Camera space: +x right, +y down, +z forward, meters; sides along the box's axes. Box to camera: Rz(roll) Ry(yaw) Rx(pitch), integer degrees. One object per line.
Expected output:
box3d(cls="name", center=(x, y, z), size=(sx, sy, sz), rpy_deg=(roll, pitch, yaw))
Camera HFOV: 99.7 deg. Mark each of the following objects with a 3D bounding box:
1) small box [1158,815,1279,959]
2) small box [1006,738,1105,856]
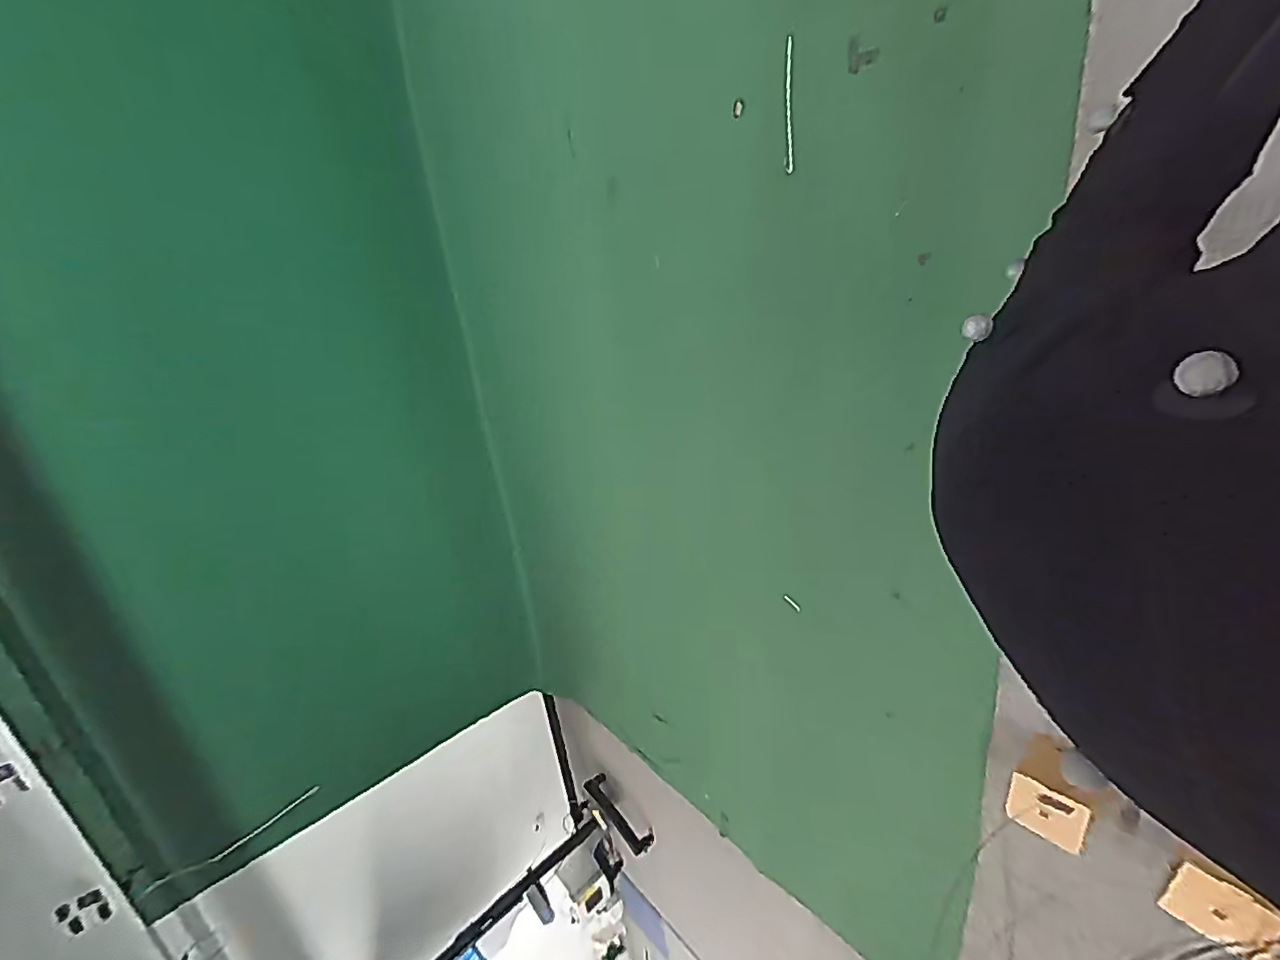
box3d(cls="small box", center=(1.323, 0.915, 1.220), size=(0.168, 0.176, 0.179), rpy_deg=(24, 126, 44))
box3d(cls="small box", center=(1.113, 0.836, 1.447), size=(0.168, 0.176, 0.179), rpy_deg=(18, 123, 47))
